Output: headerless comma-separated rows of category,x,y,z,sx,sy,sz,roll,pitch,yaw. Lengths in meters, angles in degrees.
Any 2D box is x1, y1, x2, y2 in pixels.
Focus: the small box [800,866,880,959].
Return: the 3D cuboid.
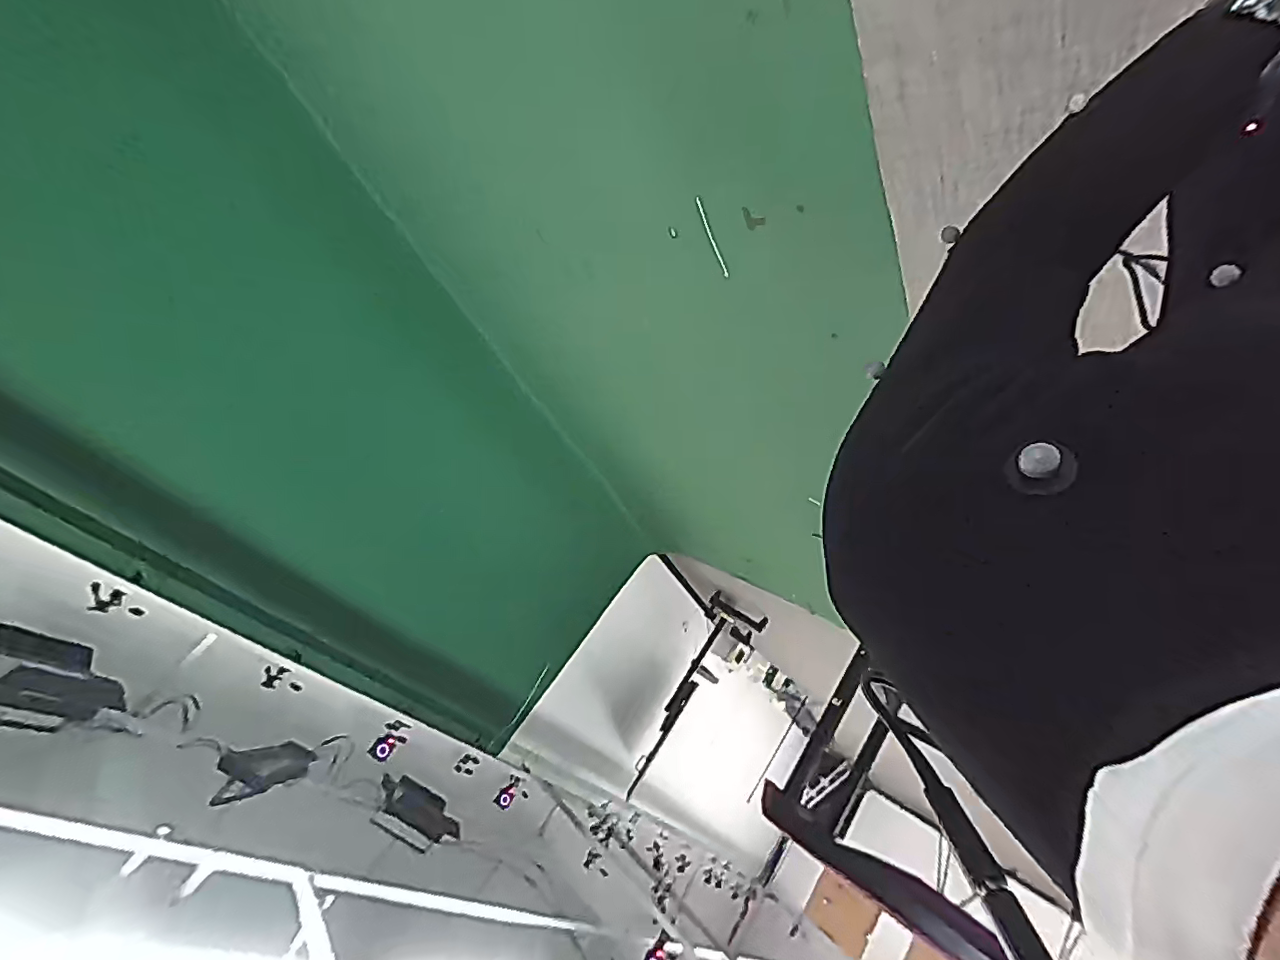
small box,0.624,1.336,1.675,0.168,0.176,0.179,21,155,42
